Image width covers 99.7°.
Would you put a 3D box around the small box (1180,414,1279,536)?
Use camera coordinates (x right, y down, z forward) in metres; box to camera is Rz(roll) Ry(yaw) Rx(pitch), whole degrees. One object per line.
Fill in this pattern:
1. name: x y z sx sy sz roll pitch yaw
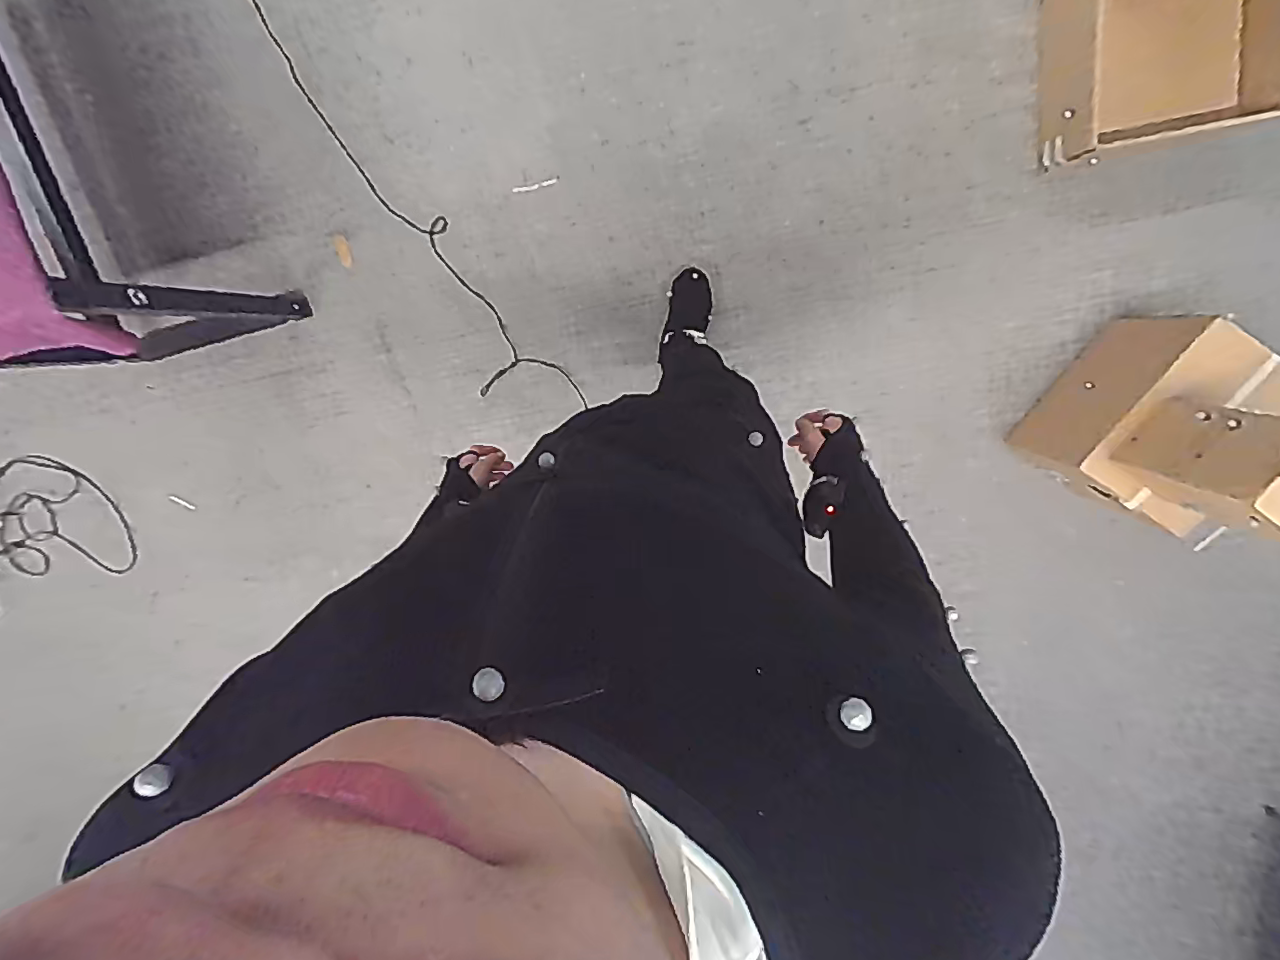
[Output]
1. small box: 1.138 -0.002 0.952 0.179 0.176 0.168 33 106 -5

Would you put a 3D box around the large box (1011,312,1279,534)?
1. large box: 1.245 -0.148 1.328 0.320 0.320 0.408 32 105 -5
